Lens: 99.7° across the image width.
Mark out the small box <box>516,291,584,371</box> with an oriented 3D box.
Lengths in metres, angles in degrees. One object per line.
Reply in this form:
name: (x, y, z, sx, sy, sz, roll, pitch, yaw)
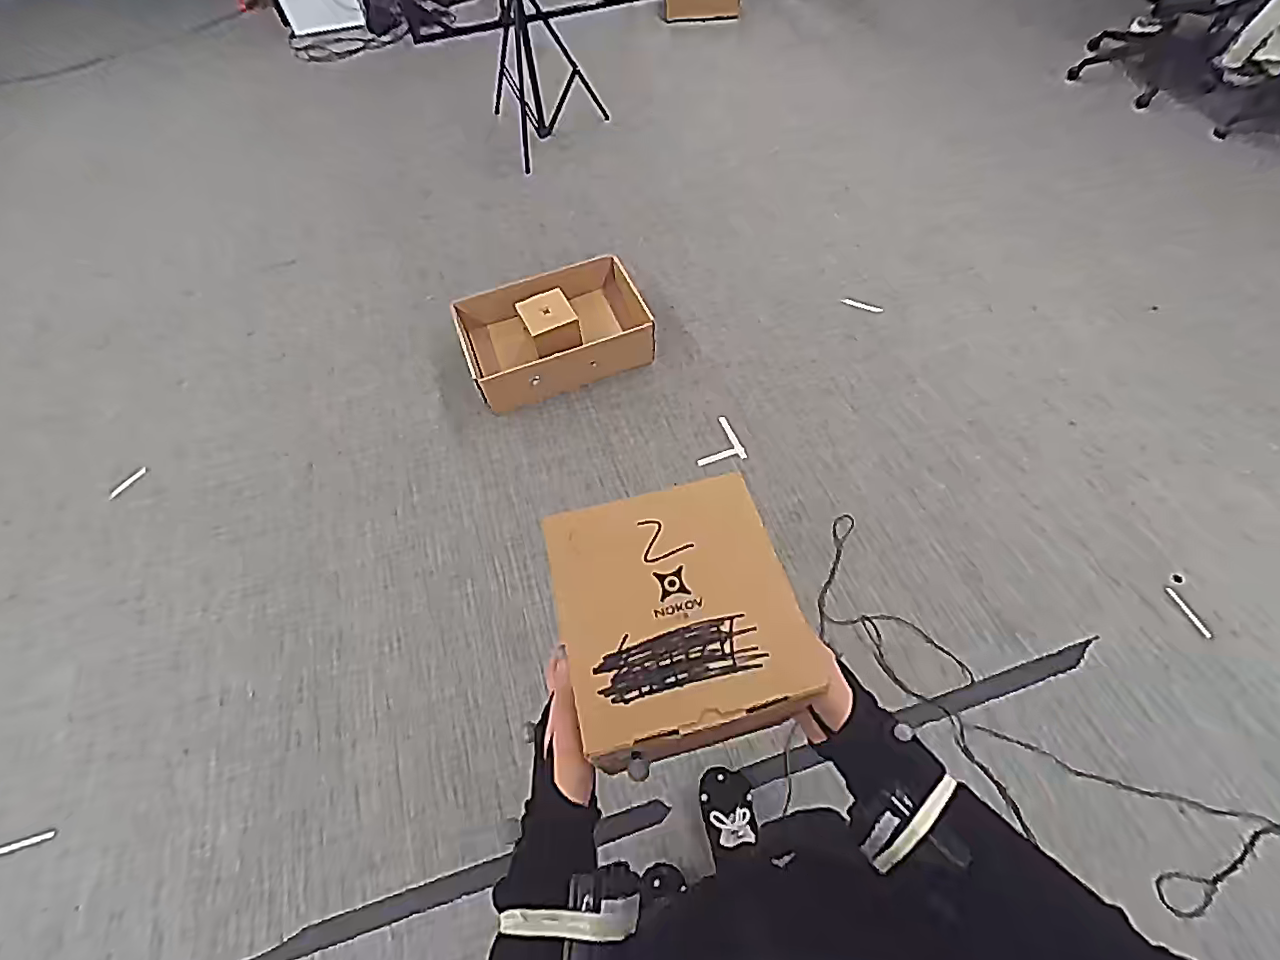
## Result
small box: (-0.309, -0.513, 1.870, 0.168, 0.176, 0.179, -25, 62, -11)
